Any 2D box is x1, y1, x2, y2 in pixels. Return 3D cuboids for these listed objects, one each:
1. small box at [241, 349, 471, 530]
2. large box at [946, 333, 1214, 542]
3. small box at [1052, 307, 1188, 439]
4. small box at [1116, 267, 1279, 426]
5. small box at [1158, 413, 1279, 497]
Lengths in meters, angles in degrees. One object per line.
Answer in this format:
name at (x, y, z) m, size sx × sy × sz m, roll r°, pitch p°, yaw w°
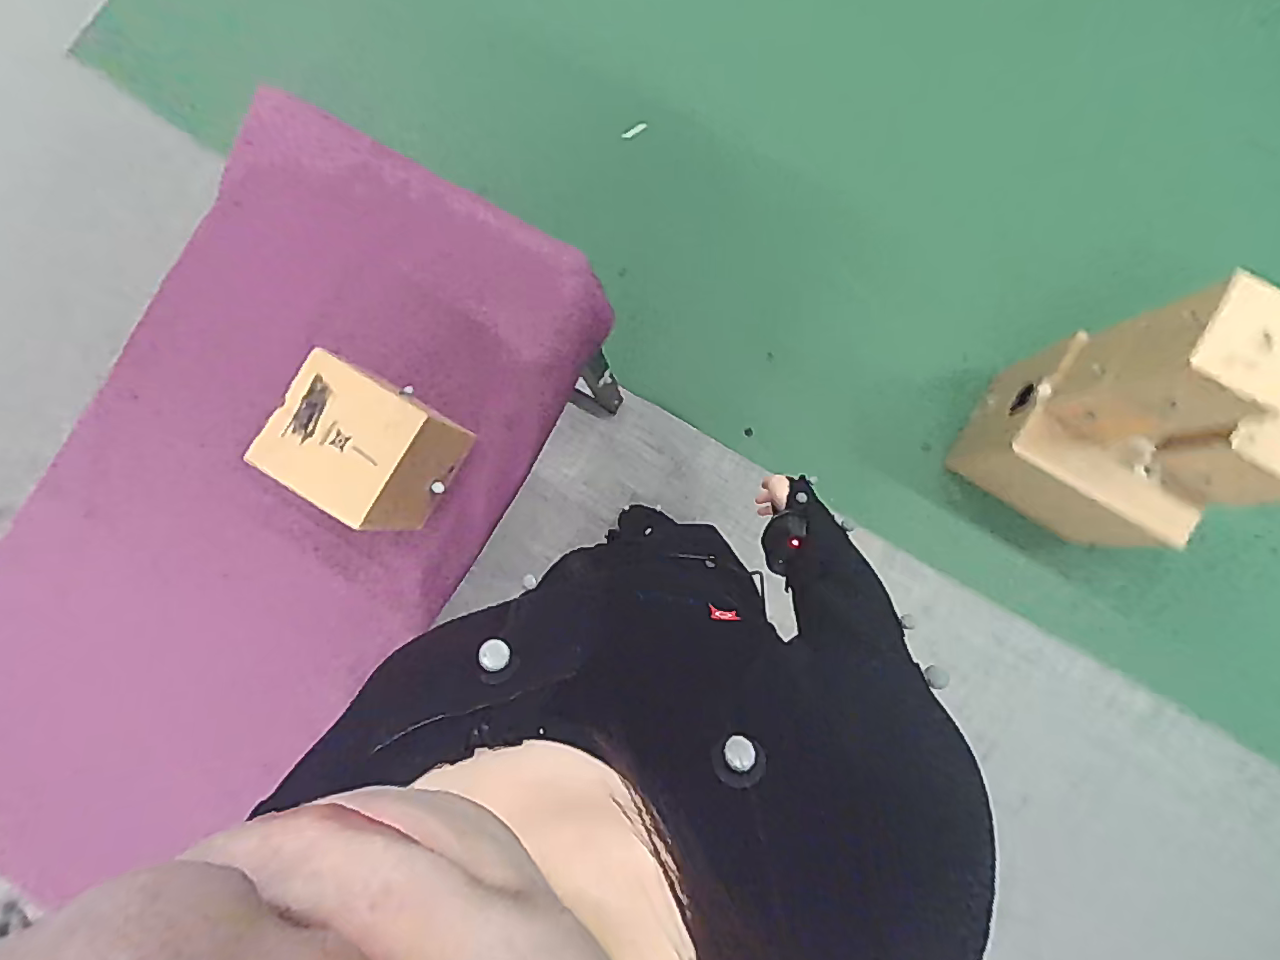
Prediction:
small box at (-0.366, -0.043, 0.730) m, size 0.179 × 0.176 × 0.168 m, roll 31°, pitch 88°, yaw 5°
large box at (1.060, -0.085, 1.307) m, size 0.408 × 0.320 × 0.320 m, roll 32°, pitch 89°, yaw 5°
small box at (0.982, -0.204, 1.078) m, size 0.168 × 0.176 × 0.179 m, roll 32°, pitch 88°, yaw 5°
small box at (0.974, -0.213, 0.913) m, size 0.168 × 0.176 × 0.179 m, roll 31°, pitch 88°, yaw 5°
small box at (1.195, -0.078, 1.051) m, size 0.179 × 0.176 × 0.168 m, roll 37°, pitch 88°, yaw 6°
